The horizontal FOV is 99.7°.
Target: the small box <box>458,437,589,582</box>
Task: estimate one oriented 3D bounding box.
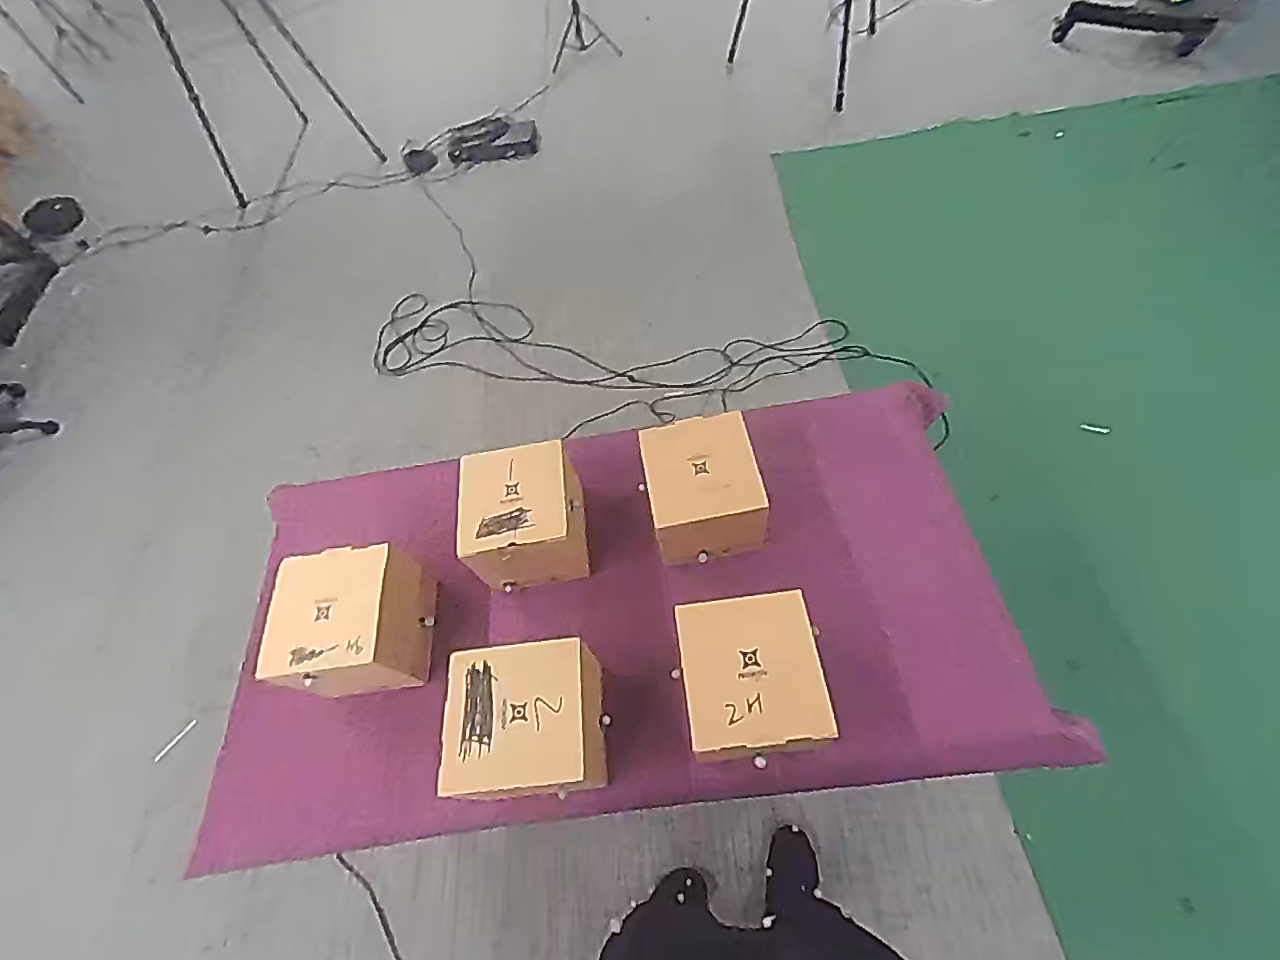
[{"bbox_3d":[-0.183,0.058,0.887,0.168,0.176,0.179,-10,59,2],"label":"small box"}]

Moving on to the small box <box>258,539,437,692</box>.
[{"bbox_3d":[-0.429,0.212,0.829,0.168,0.176,0.179,-9,59,4],"label":"small box"}]

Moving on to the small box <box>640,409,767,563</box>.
[{"bbox_3d":[0.098,0.015,0.875,0.168,0.176,0.179,-11,60,3],"label":"small box"}]

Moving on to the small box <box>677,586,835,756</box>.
[{"bbox_3d":[0.142,0.260,0.724,0.168,0.176,0.179,-8,59,4],"label":"small box"}]
